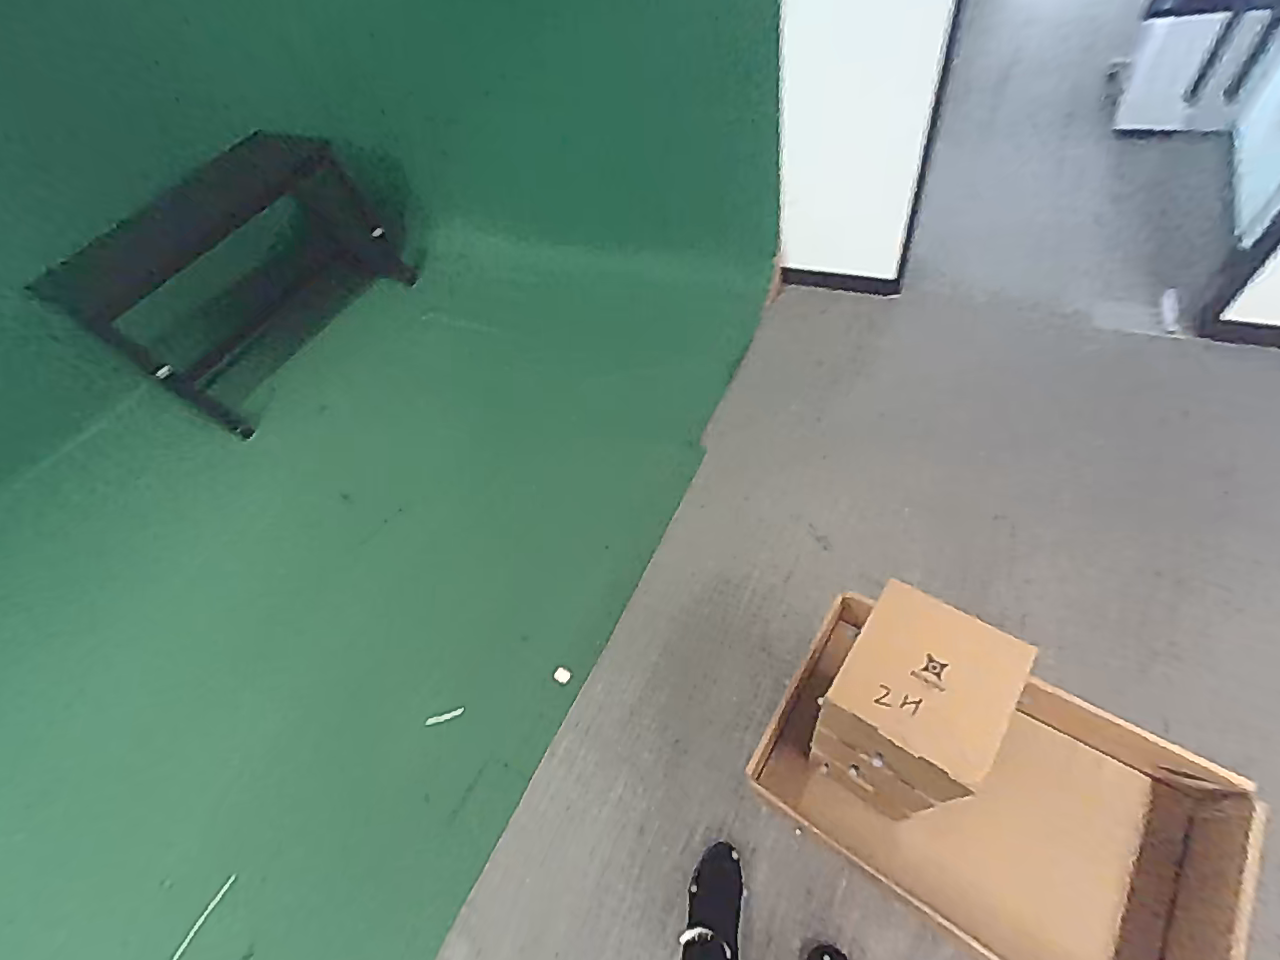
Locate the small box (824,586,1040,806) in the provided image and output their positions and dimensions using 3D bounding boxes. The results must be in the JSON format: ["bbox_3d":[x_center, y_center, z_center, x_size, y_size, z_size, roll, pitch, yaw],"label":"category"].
[{"bbox_3d":[0.344,0.269,0.670,0.168,0.176,0.179,29,69,28],"label":"small box"}]

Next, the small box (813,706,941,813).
[{"bbox_3d":[0.373,0.360,0.806,0.168,0.176,0.179,29,68,26],"label":"small box"}]
